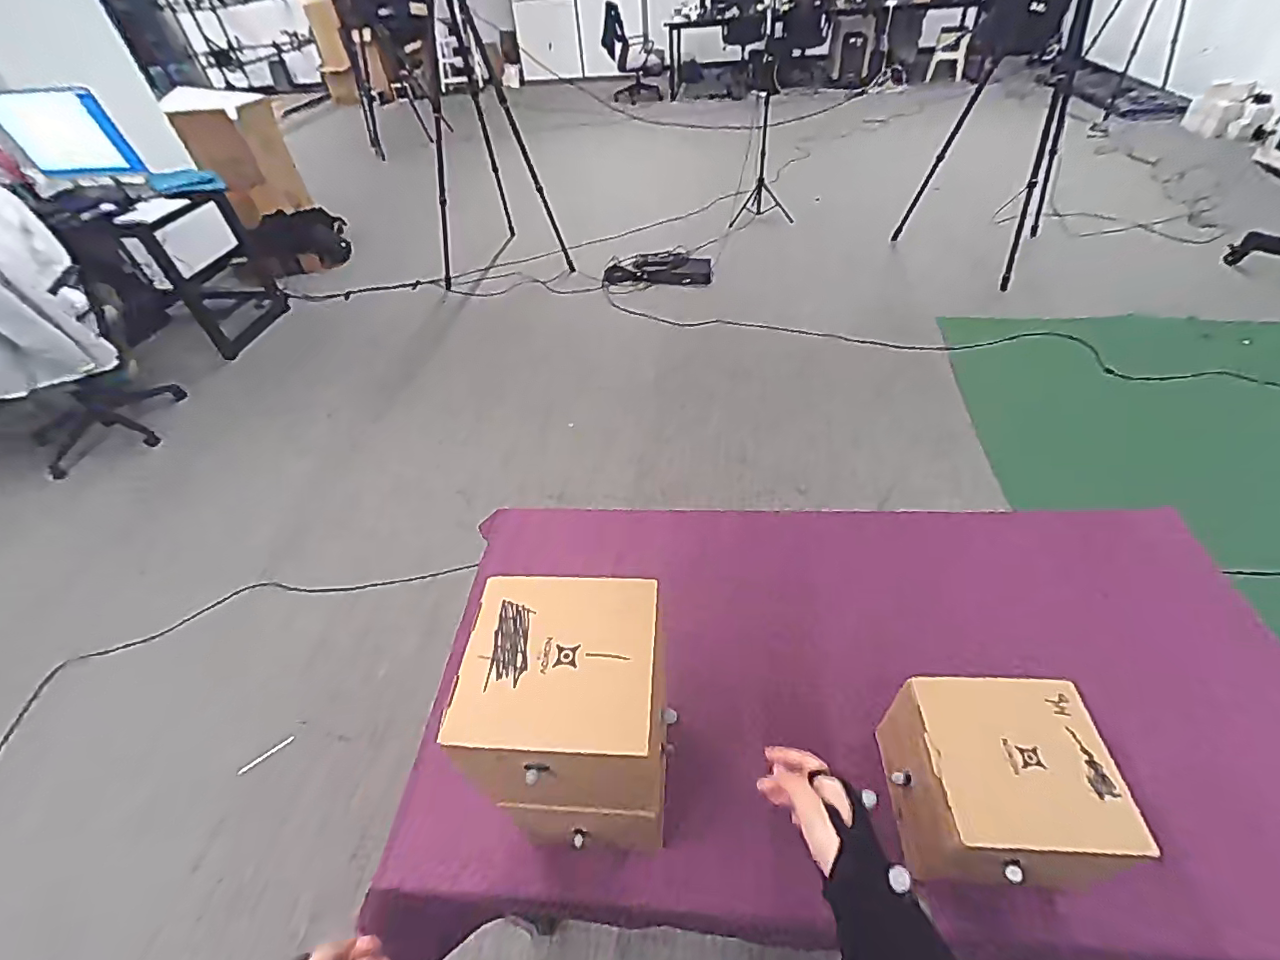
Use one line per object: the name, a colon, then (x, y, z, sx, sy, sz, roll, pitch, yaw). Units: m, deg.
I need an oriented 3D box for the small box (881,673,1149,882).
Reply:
small box: (0.386, 0.334, 0.606, 0.179, 0.176, 0.168, 0, 46, 6)

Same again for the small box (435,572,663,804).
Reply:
small box: (-0.071, 0.210, 0.544, 0.179, 0.176, 0.168, 1, 46, 6)
